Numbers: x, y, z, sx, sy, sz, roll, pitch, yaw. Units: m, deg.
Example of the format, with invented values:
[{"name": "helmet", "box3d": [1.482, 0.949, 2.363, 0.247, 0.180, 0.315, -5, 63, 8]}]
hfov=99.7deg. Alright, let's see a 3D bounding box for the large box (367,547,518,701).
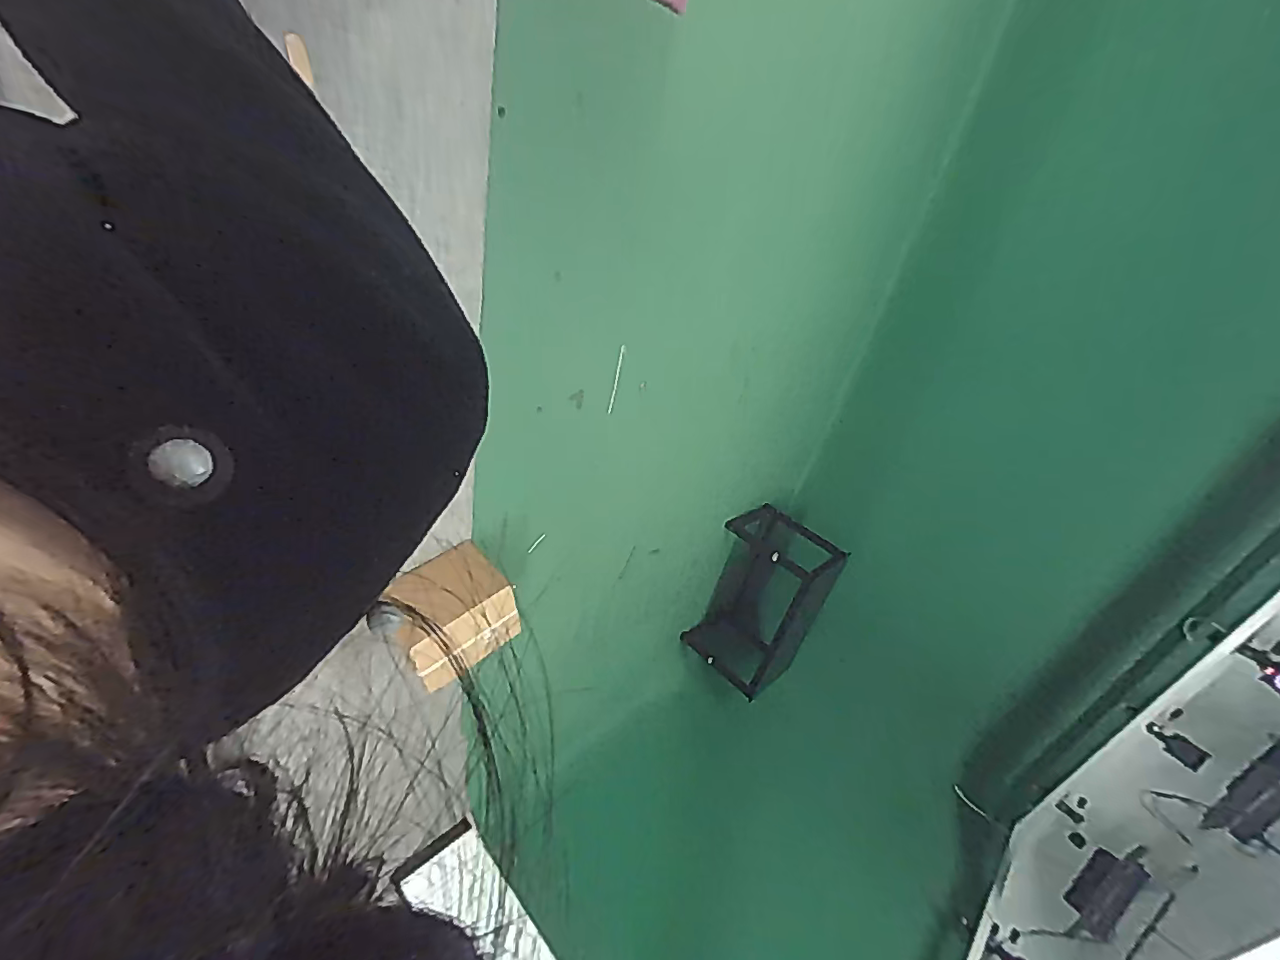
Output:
[{"name": "large box", "box3d": [-0.735, 0.533, 2.050, 0.408, 0.320, 0.320, -33, 142, -33]}]
